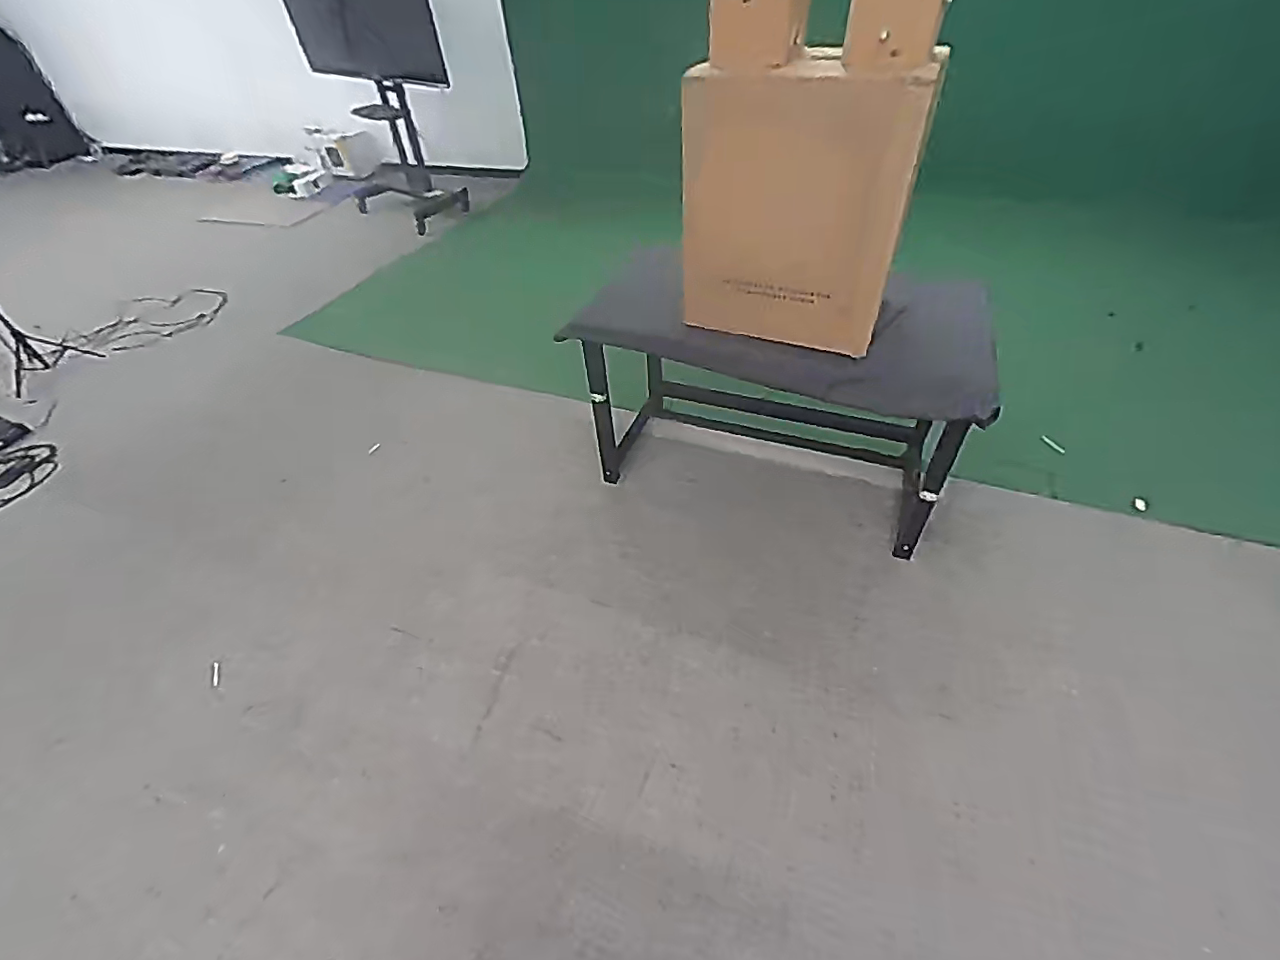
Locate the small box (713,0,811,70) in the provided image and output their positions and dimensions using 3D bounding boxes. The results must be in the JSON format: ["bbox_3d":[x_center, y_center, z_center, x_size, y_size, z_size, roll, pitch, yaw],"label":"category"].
[{"bbox_3d":[0.271,-1.034,1.206,0.179,0.176,0.168,19,52,20],"label":"small box"}]

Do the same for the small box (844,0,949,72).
[{"bbox_3d":[0.534,-0.966,1.112,0.168,0.176,0.179,19,52,20],"label":"small box"}]
